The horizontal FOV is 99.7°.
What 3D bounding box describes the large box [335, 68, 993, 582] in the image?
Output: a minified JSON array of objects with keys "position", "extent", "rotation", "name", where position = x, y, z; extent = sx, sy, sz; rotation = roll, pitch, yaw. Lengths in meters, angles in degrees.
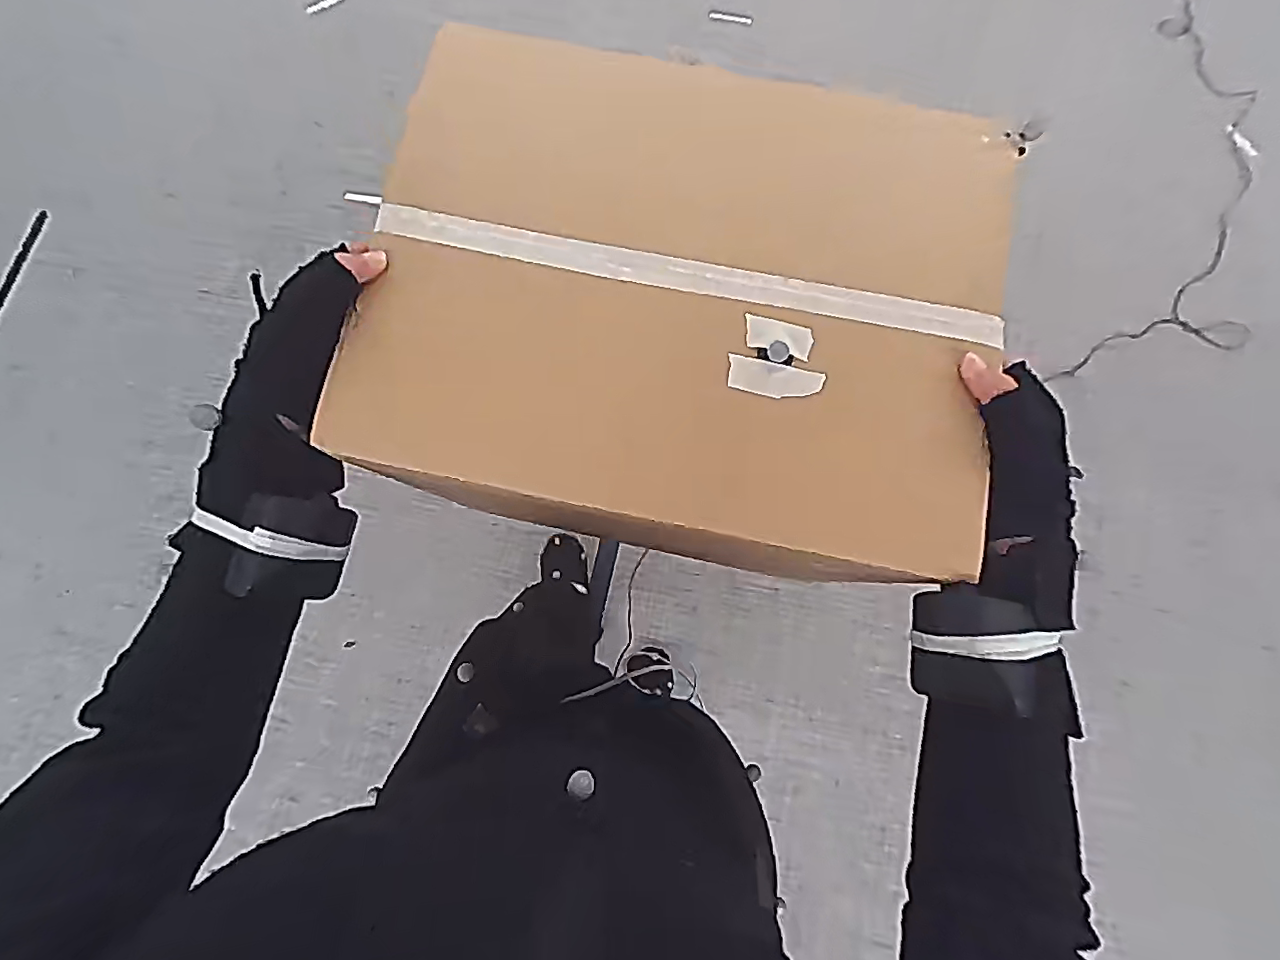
[{"position":[0.026,-0.092,0.507],"extent":[0.408,0.320,0.320],"rotation":[11,81,2],"name":"large box"}]
